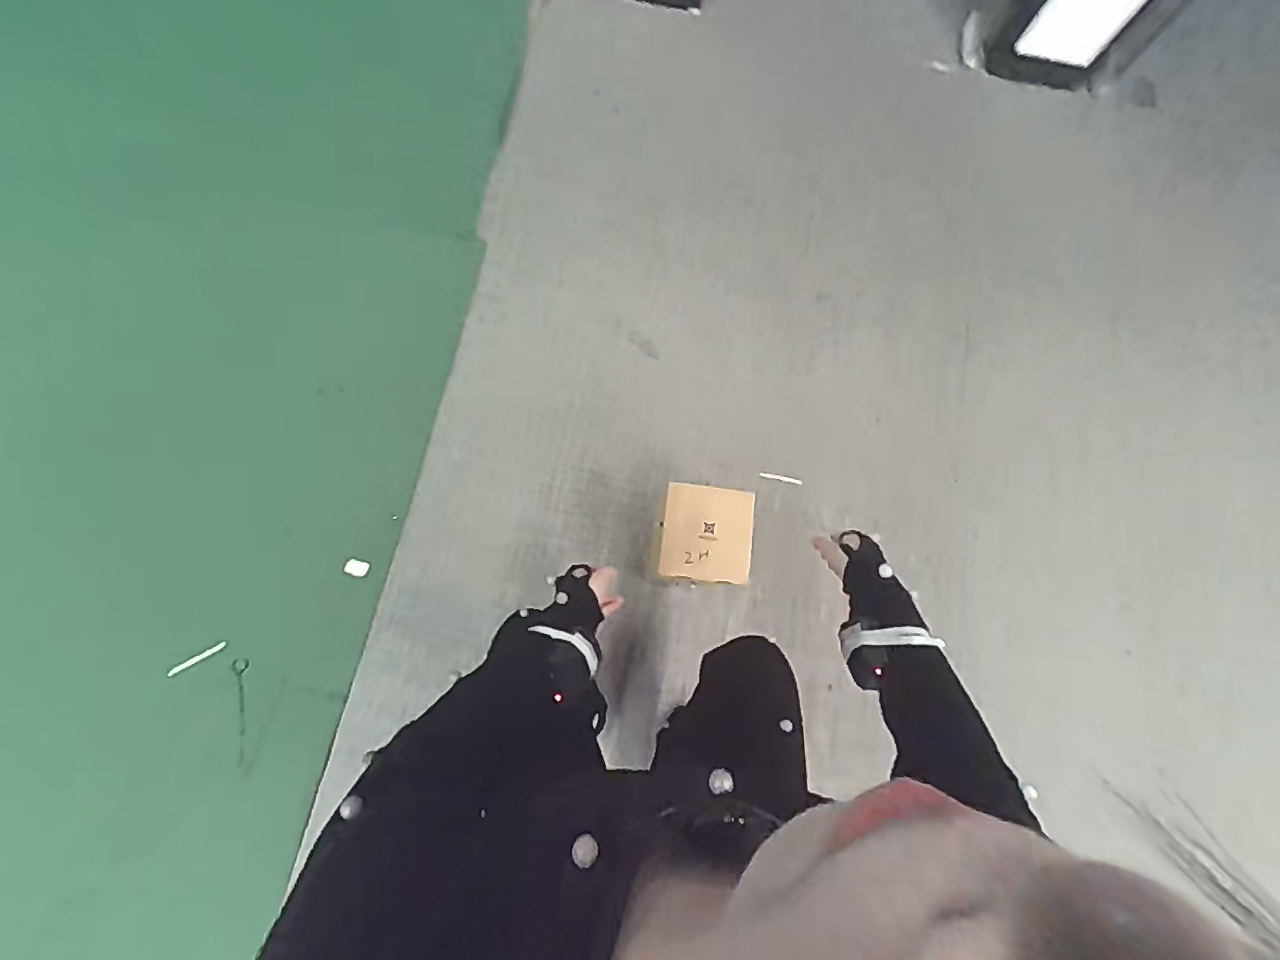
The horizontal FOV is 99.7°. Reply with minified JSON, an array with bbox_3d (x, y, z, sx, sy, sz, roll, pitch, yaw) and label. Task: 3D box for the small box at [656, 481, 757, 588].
[{"bbox_3d":[0.125,0.114,1.074,0.168,0.176,0.179,8,78,-1],"label":"small box"}]
